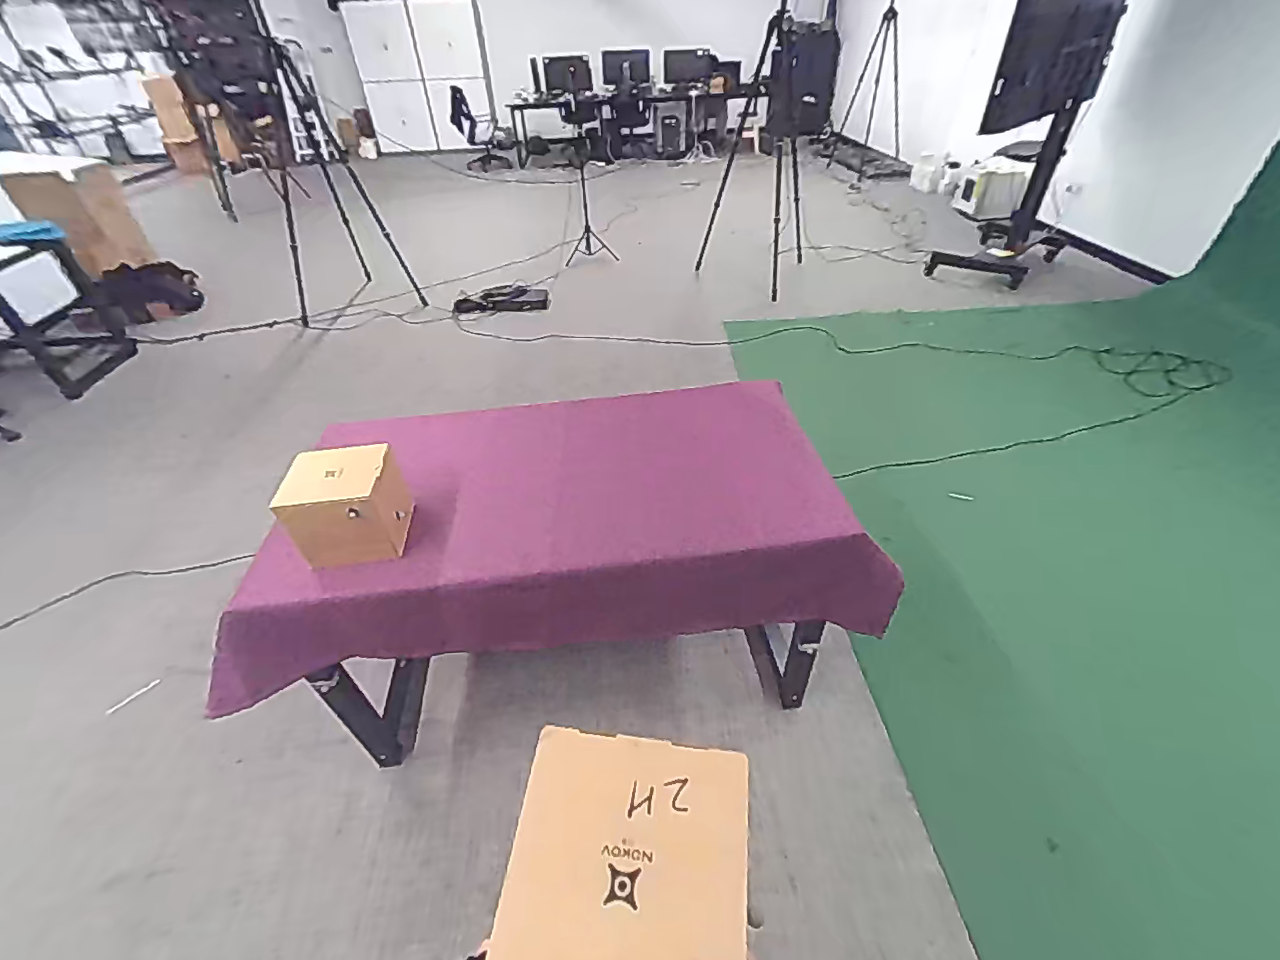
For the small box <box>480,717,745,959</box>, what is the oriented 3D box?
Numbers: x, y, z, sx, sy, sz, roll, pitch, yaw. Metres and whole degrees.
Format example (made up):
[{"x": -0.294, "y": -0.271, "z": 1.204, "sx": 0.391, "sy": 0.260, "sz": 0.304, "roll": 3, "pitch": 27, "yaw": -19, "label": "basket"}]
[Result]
[{"x": -0.007, "y": 0.317, "z": 0.434, "sx": 0.168, "sy": 0.176, "sz": 0.179, "roll": 5, "pitch": 49, "yaw": 7, "label": "small box"}]

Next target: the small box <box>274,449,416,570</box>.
[{"x": -0.568, "y": 0.060, "z": 1.070, "sx": 0.179, "sy": 0.176, "sz": 0.168, "roll": -7, "pitch": 39, "yaw": -5, "label": "small box"}]
